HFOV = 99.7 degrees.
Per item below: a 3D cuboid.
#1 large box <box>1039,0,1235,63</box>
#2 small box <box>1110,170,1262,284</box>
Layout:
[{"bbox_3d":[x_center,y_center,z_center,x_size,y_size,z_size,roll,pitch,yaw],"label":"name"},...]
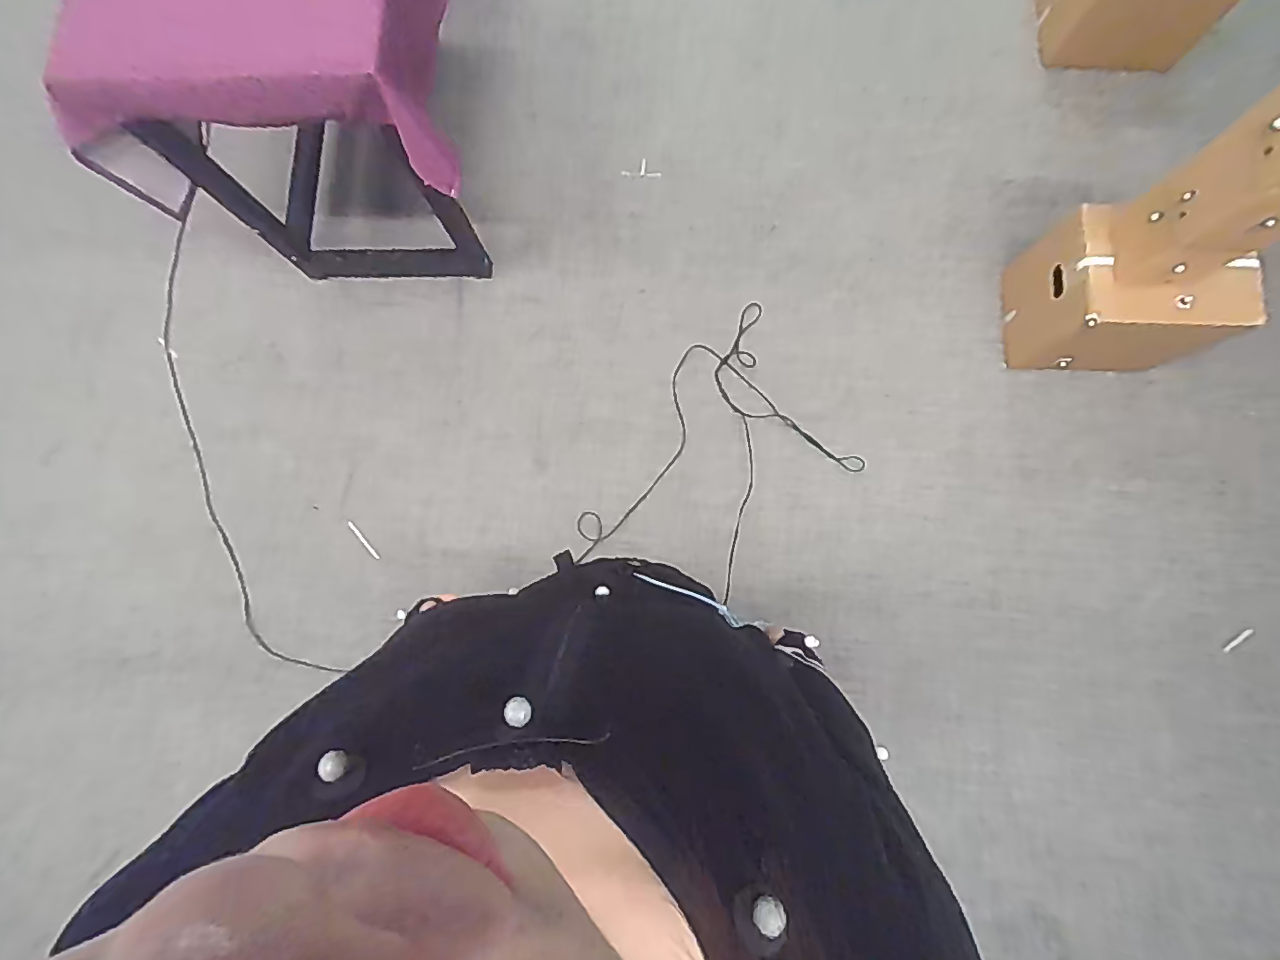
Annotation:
[{"bbox_3d":[1.488,-1.496,1.591,0.408,0.320,0.320,3,82,1],"label":"large box"},{"bbox_3d":[1.210,-0.559,1.213,0.168,0.176,0.179,1,80,2],"label":"small box"}]
